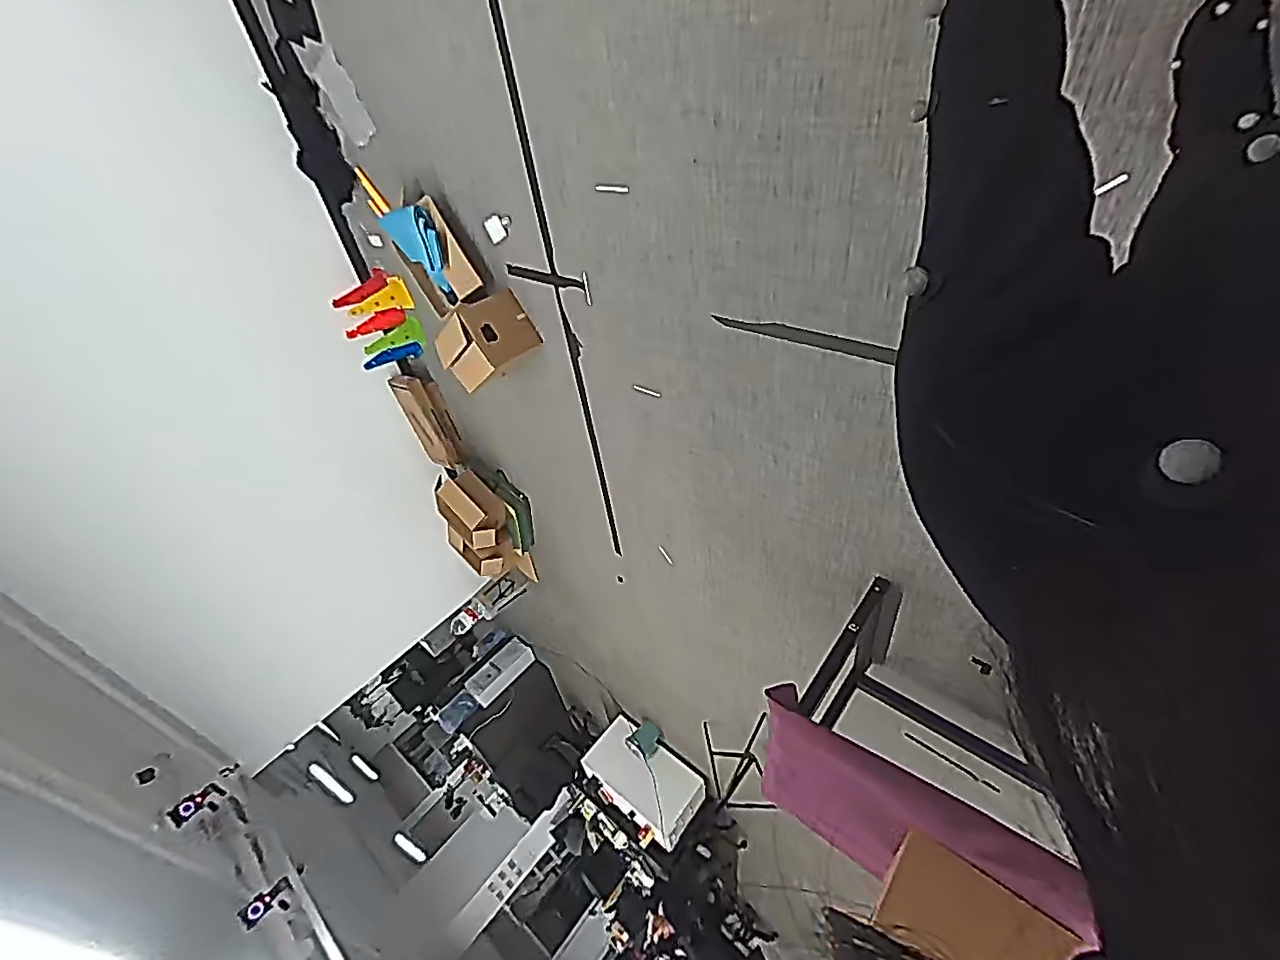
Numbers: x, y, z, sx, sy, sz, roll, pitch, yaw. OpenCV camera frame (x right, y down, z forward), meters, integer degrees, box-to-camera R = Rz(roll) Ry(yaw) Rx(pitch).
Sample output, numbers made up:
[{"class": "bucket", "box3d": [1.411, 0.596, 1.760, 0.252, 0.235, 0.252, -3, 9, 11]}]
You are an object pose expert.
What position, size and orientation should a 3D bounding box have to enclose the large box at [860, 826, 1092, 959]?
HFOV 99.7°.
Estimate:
[{"class": "large box", "box3d": [0.848, 1.217, 1.402, 0.408, 0.320, 0.320, 25, 139, 36]}]
